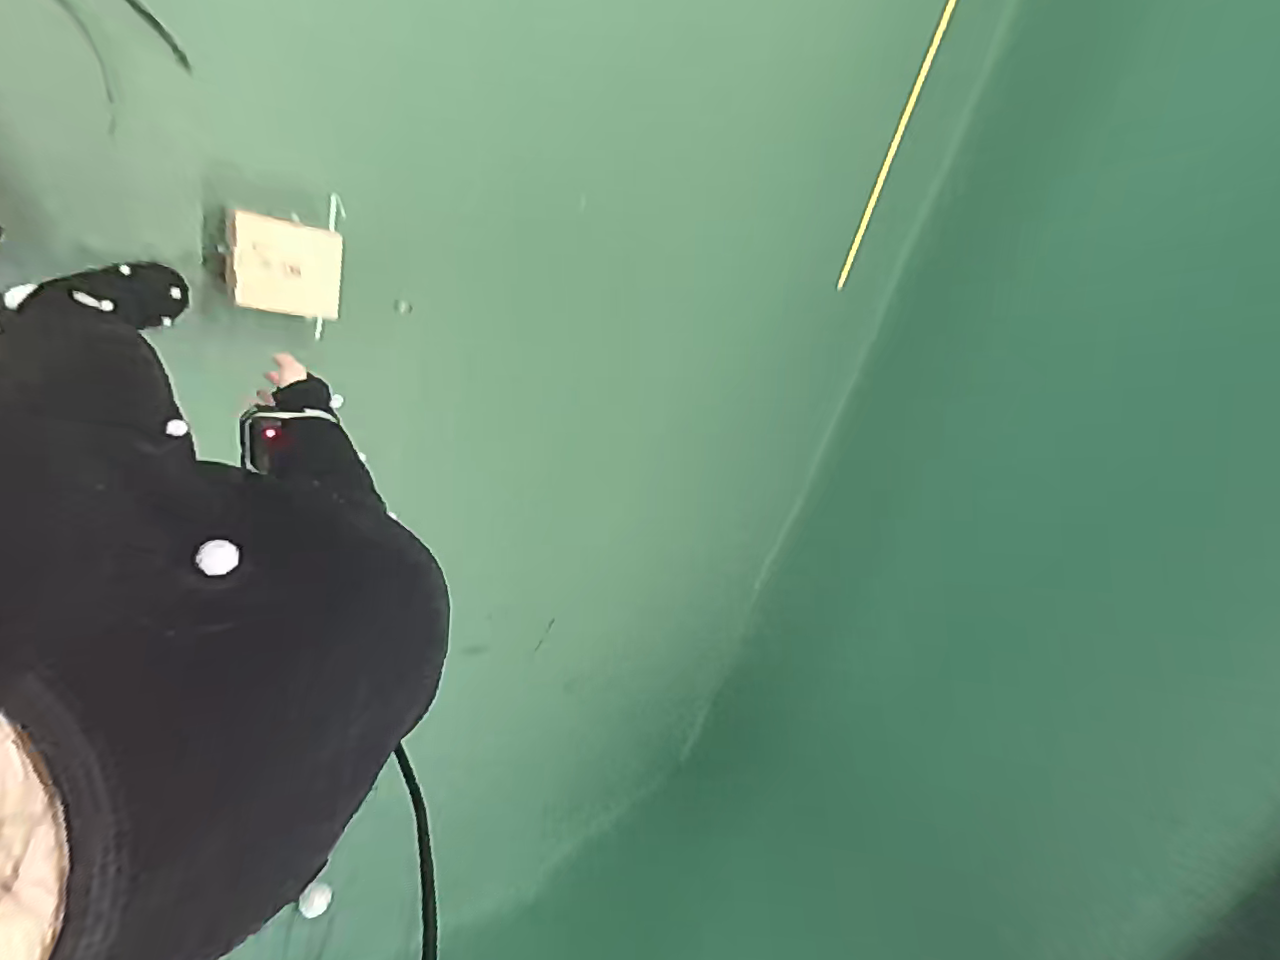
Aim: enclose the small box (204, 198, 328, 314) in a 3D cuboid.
[{"bbox_3d":[-0.751,-0.449,1.083,0.179,0.176,0.168,-1,116,-43],"label":"small box"}]
